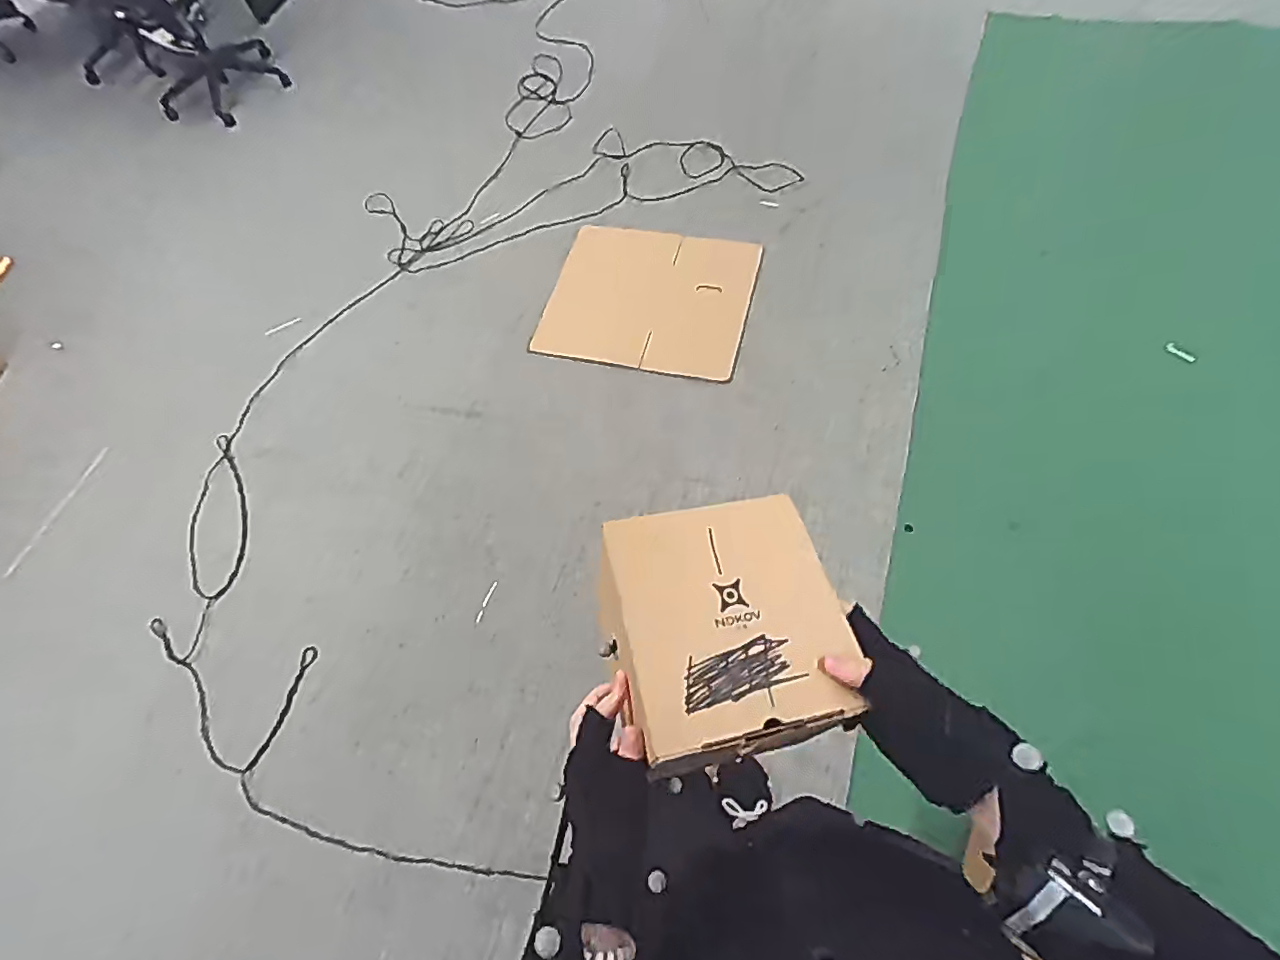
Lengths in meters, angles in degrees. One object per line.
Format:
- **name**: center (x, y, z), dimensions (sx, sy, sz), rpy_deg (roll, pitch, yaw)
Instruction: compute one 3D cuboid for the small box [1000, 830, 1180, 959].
- **small box**: center (0.728, 0.713, 0.891), dimensions (0.168, 0.176, 0.179), rpy_deg (19, 69, 15)
